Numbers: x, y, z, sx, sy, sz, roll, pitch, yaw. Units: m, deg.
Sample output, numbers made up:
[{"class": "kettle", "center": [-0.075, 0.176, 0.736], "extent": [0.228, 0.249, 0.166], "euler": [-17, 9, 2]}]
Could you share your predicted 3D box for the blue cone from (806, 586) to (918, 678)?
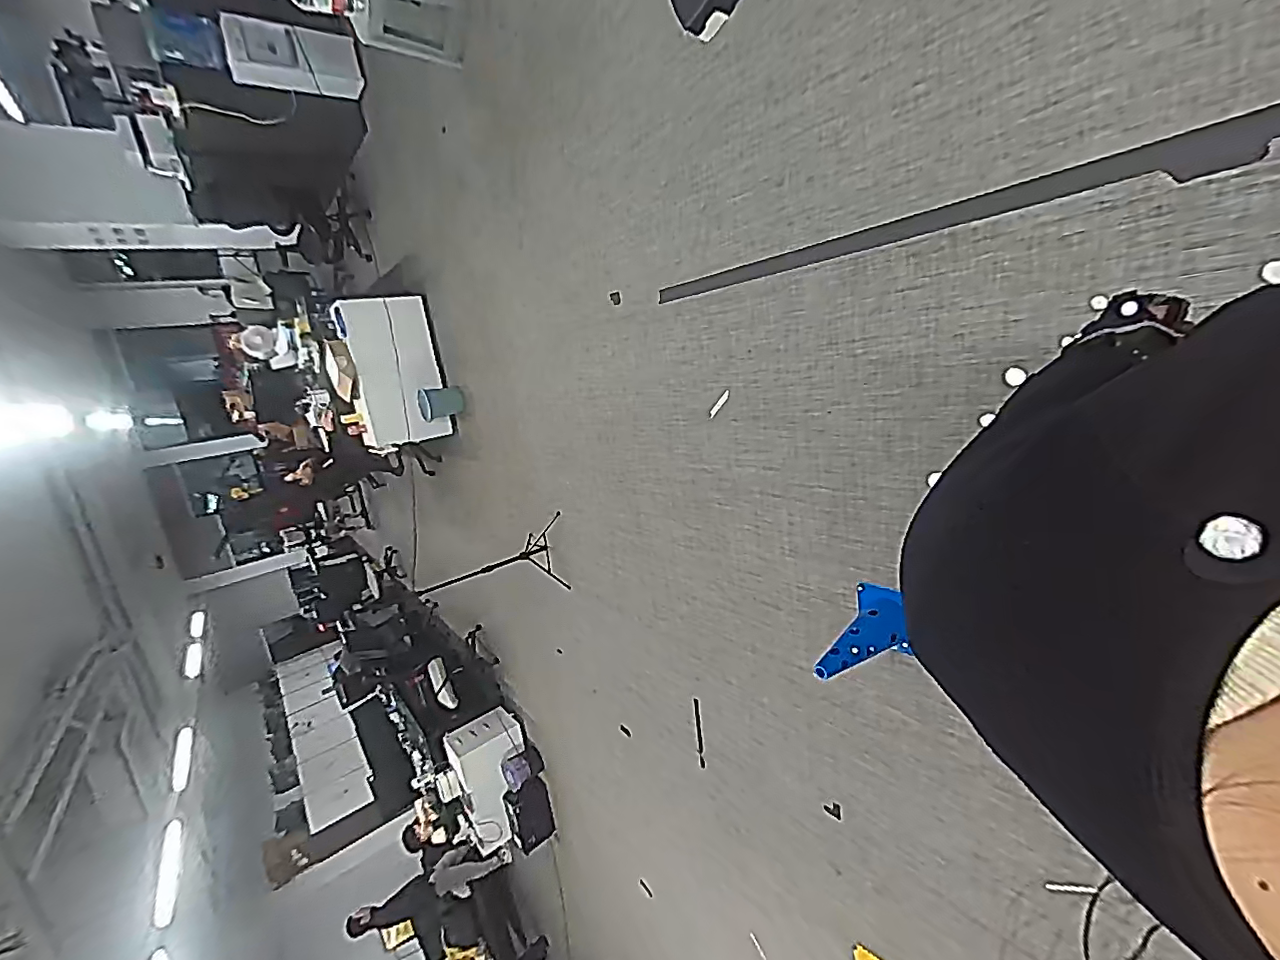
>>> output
[{"class": "blue cone", "center": [0.607, 0.460, 1.521], "extent": [0.192, 0.380, 0.193], "euler": [11, 113, 53]}]
